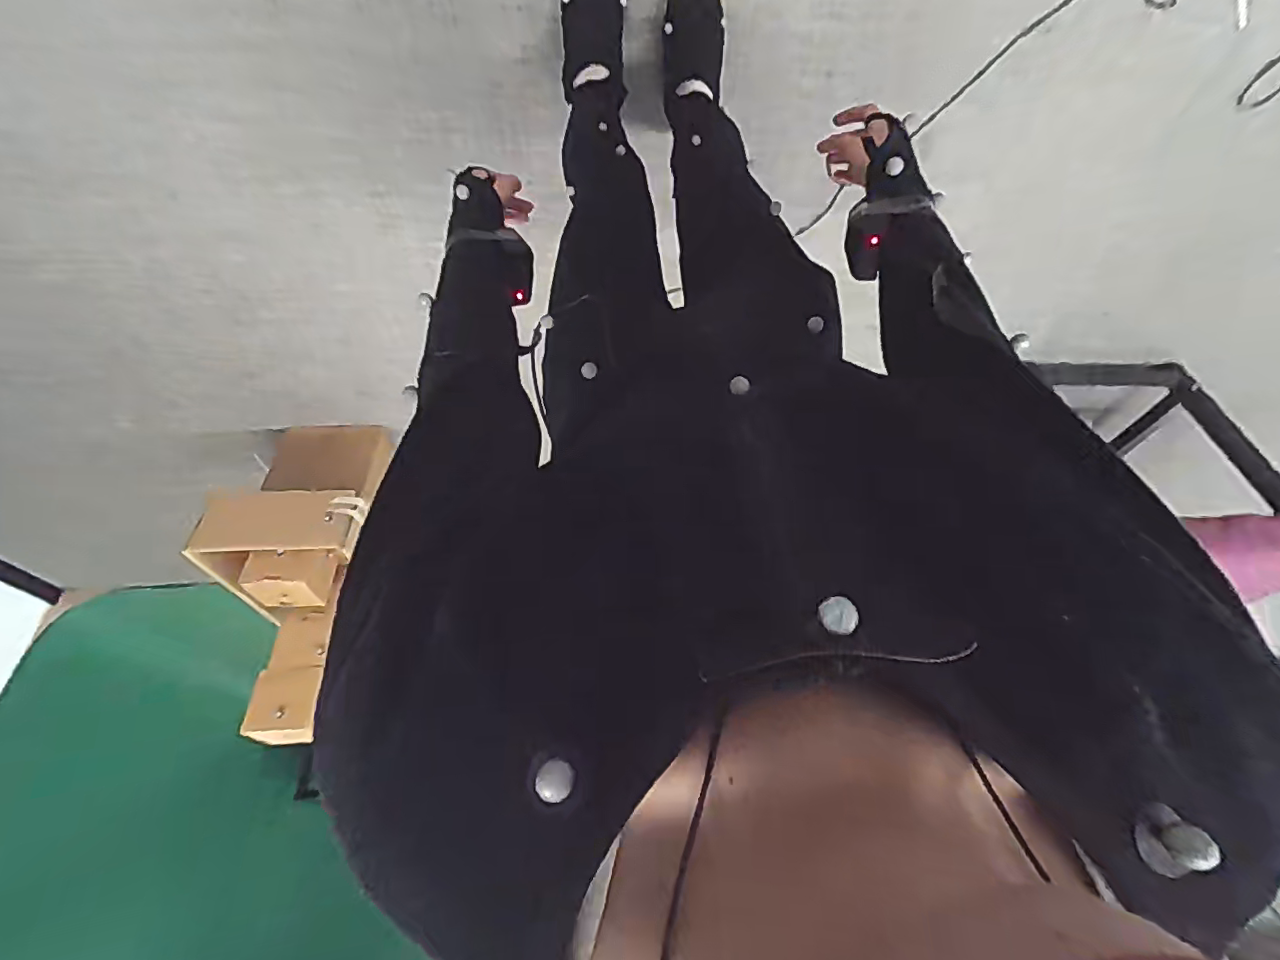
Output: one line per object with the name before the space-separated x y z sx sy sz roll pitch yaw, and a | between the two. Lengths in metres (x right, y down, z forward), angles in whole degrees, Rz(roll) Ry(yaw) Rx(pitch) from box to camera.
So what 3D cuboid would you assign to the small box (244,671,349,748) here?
small box | -0.970 0.655 1.544 0.179 0.176 0.168 -2 143 -3
